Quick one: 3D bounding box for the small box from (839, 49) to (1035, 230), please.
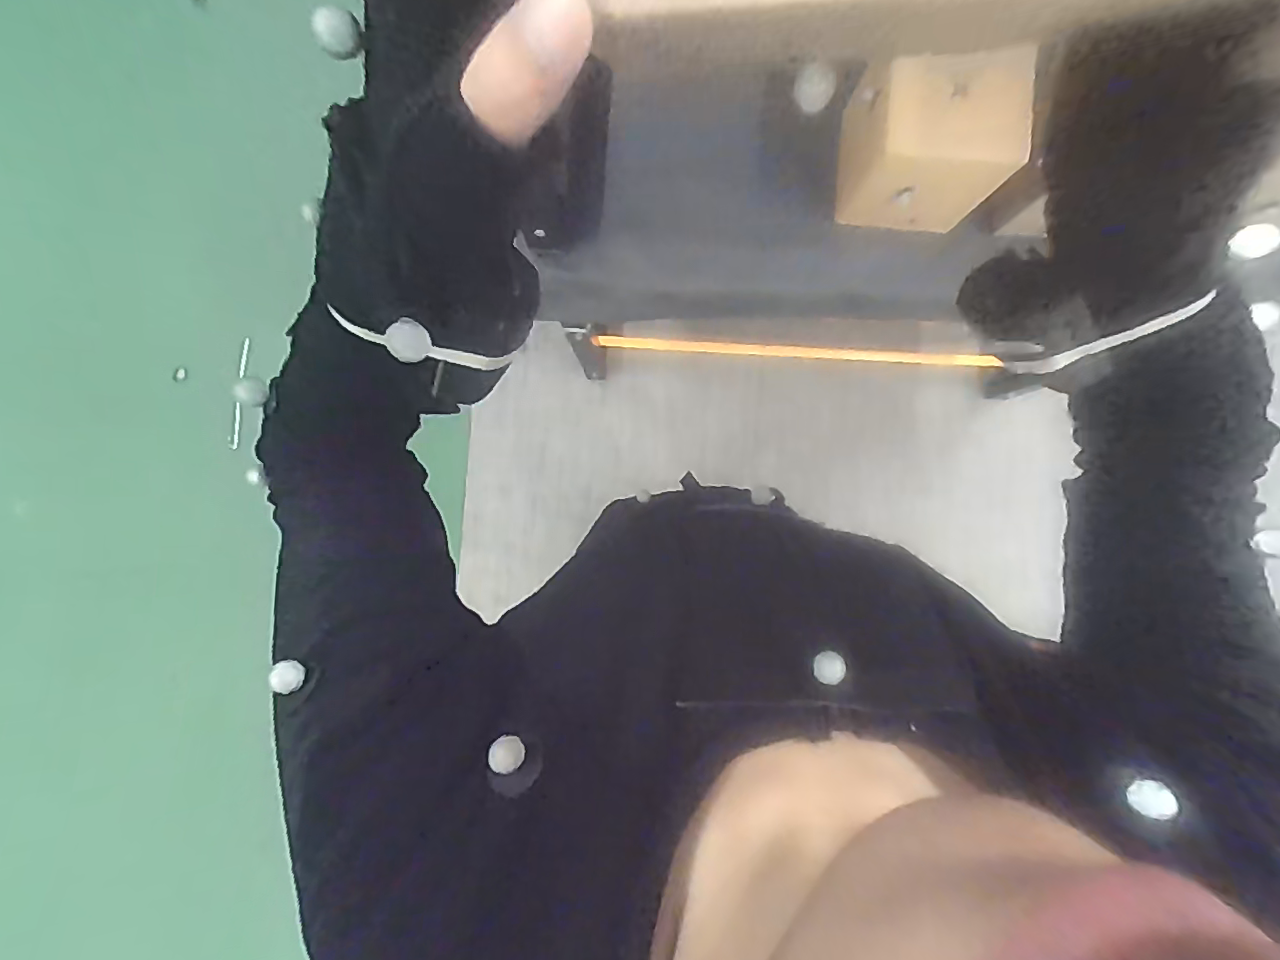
[{"bbox_3d":[0.372,-0.453,0.705,0.168,0.176,0.179,6,87,1],"label":"small box"}]
